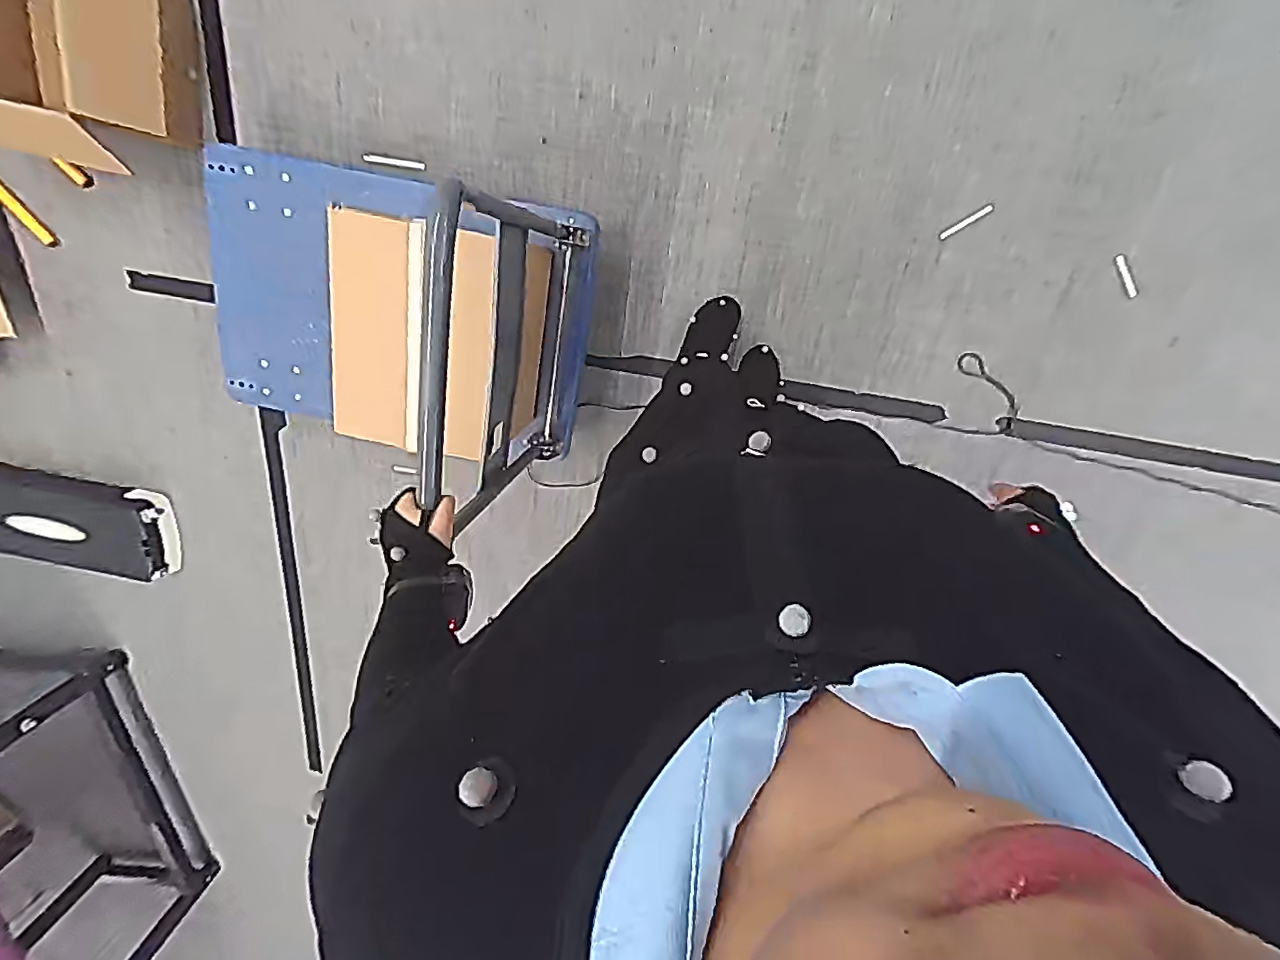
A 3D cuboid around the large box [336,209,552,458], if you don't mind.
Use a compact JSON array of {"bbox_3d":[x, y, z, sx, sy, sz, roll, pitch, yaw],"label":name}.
[{"bbox_3d":[-0.385,-0.299,1.121,0.320,0.320,0.408,11,110,0],"label":"large box"}]
